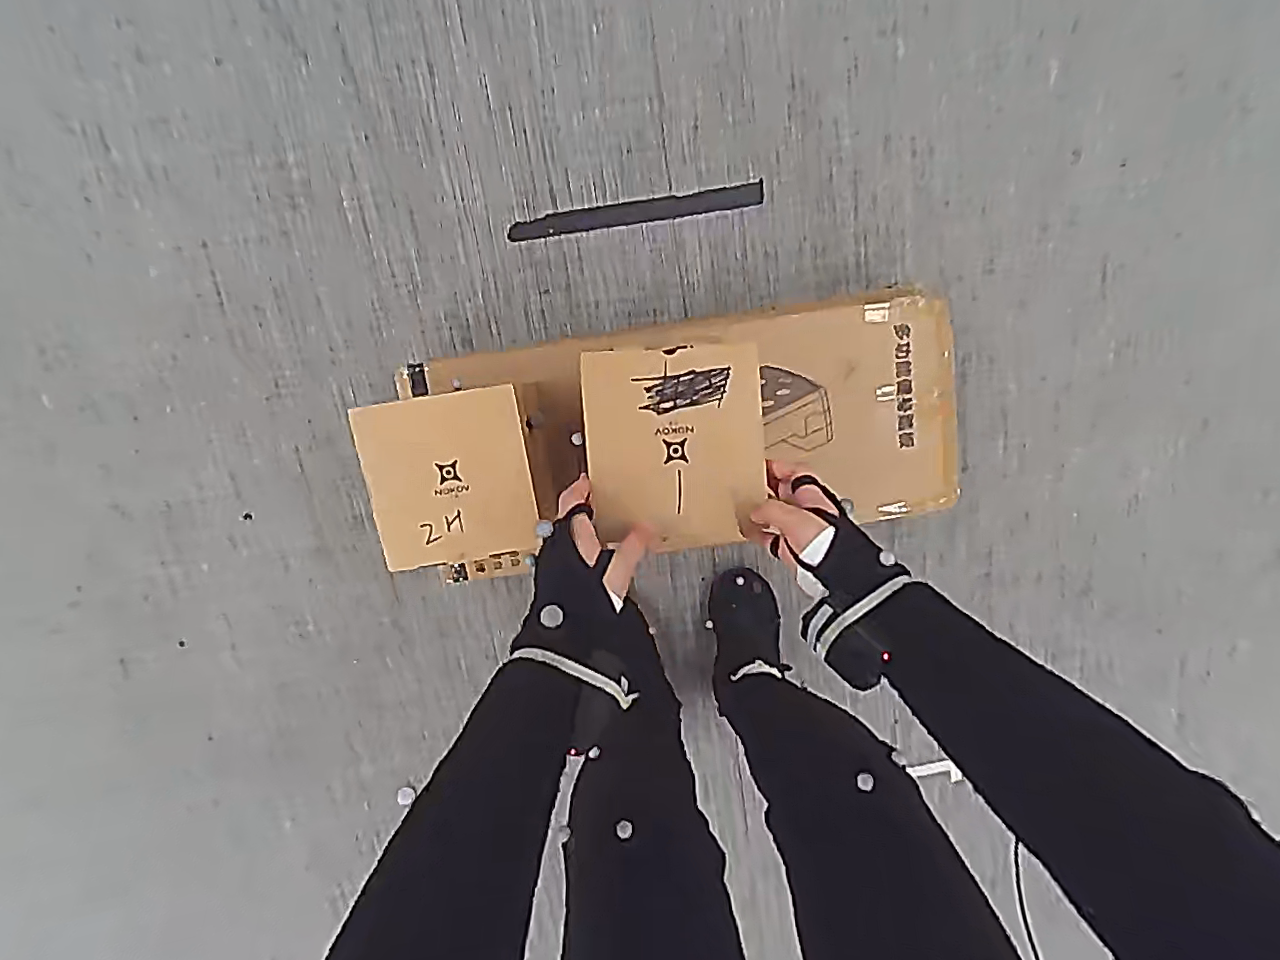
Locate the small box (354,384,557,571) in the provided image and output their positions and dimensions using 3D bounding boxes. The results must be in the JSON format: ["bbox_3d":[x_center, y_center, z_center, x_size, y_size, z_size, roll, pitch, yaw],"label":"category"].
[{"bbox_3d":[-0.197,-0.014,0.629,0.168,0.176,0.179,-9,102,-1],"label":"small box"}]

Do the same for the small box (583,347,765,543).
[{"bbox_3d":[0.025,-0.033,0.579,0.168,0.176,0.179,-4,91,-5],"label":"small box"}]
